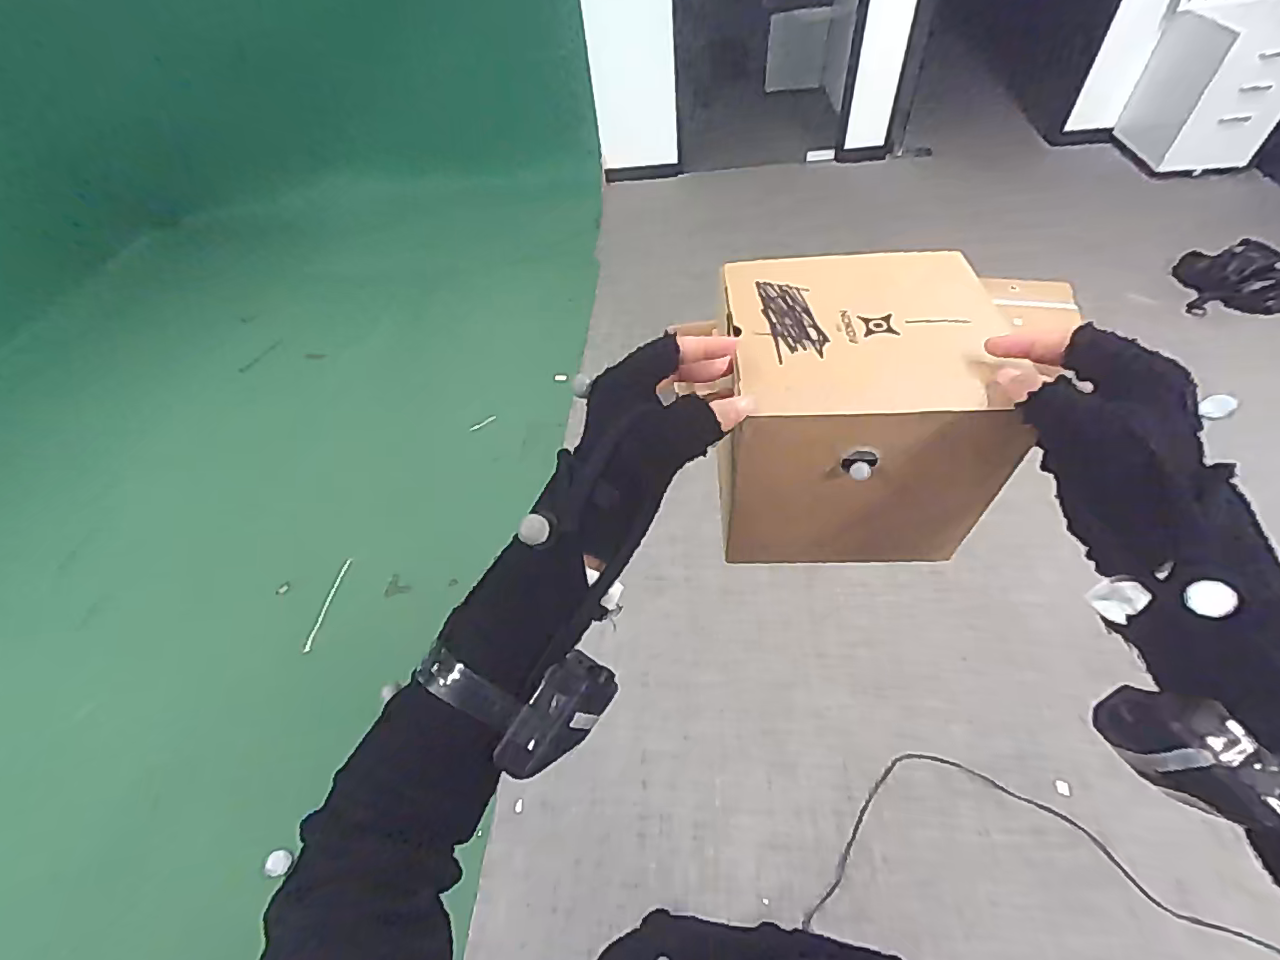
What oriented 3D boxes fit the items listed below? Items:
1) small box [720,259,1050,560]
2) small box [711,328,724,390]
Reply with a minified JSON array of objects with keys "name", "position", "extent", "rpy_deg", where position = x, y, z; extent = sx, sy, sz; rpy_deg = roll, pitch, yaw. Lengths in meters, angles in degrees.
[{"name":"small box","position":[0.154,-0.048,0.420],"extent":[0.179,0.176,0.168],"rpy_deg":[0,52,4]},{"name":"small box","position":[0.357,-0.450,2.027],"extent":[0.179,0.176,0.168],"rpy_deg":[1,52,5]}]
